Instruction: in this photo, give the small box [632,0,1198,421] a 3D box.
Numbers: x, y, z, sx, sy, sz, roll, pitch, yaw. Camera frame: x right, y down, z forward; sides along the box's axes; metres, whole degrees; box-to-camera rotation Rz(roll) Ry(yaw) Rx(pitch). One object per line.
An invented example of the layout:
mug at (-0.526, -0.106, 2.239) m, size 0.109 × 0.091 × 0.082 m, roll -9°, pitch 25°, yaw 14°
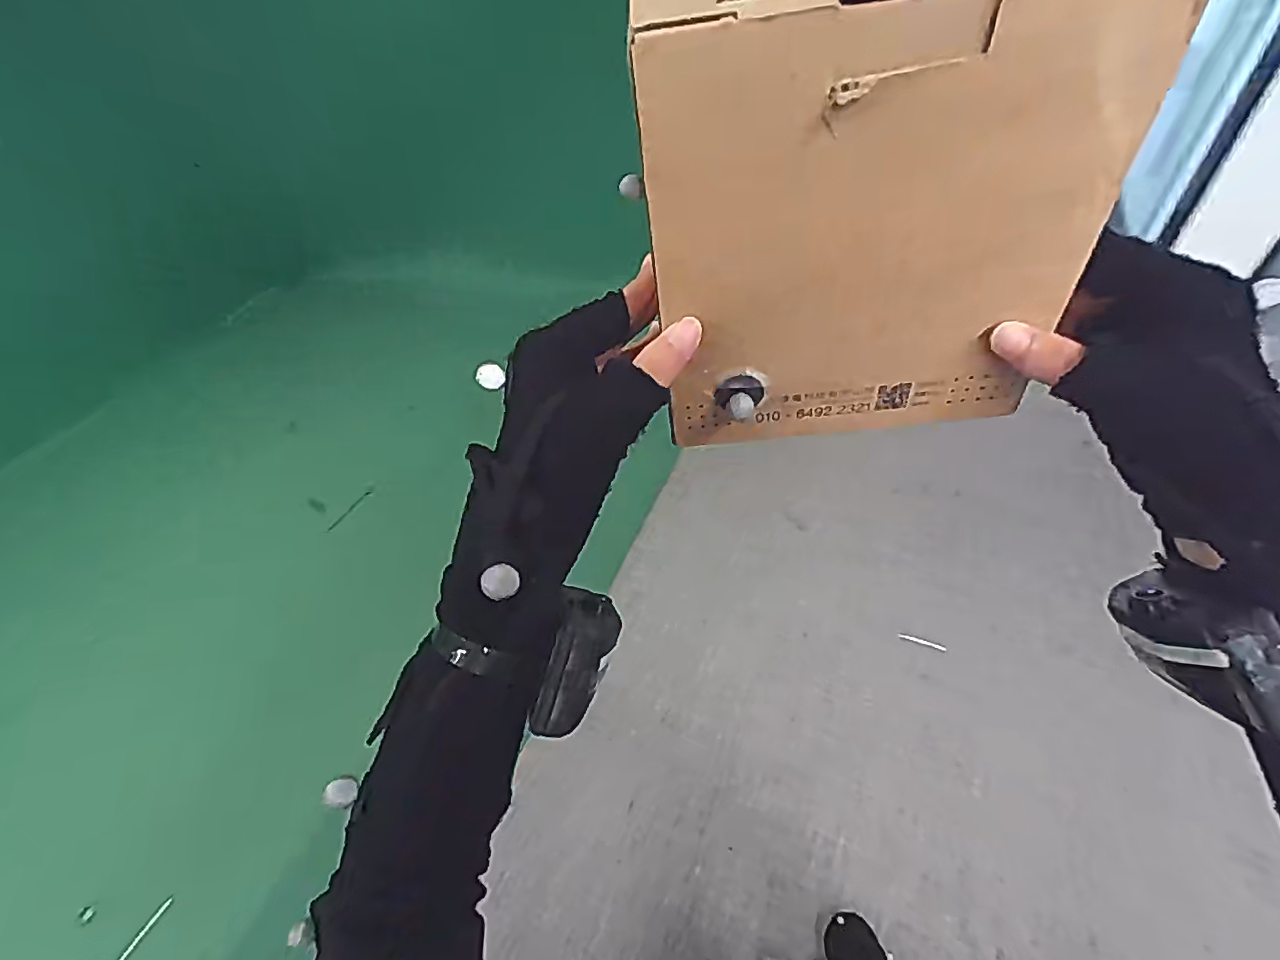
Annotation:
small box at (0.090, -0.141, 0.261) m, size 0.168 × 0.176 × 0.179 m, roll -5°, pitch 46°, yaw 5°
